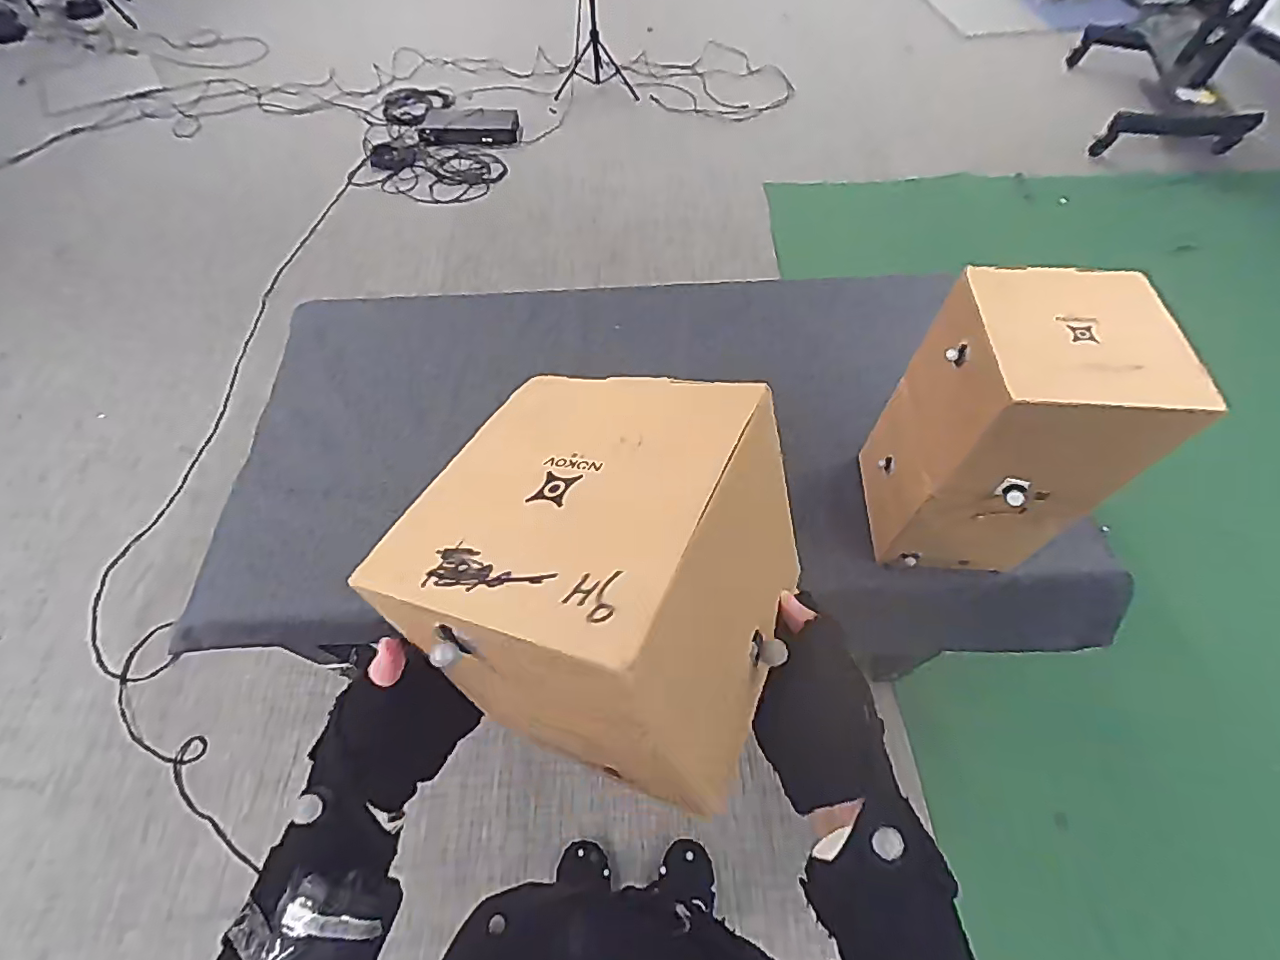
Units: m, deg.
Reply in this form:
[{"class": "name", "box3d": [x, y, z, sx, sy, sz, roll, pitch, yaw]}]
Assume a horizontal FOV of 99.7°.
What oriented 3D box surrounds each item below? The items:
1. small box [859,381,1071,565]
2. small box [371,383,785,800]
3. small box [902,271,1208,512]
[{"class": "small box", "box3d": [0.396, -0.004, 0.693, 0.168, 0.176, 0.179, 3, 57, 4]}, {"class": "small box", "box3d": [-0.013, 0.057, 0.339, 0.168, 0.176, 0.179, 5, 45, 29]}, {"class": "small box", "box3d": [0.390, -0.087, 0.554, 0.168, 0.176, 0.179, 3, 59, 5]}]
